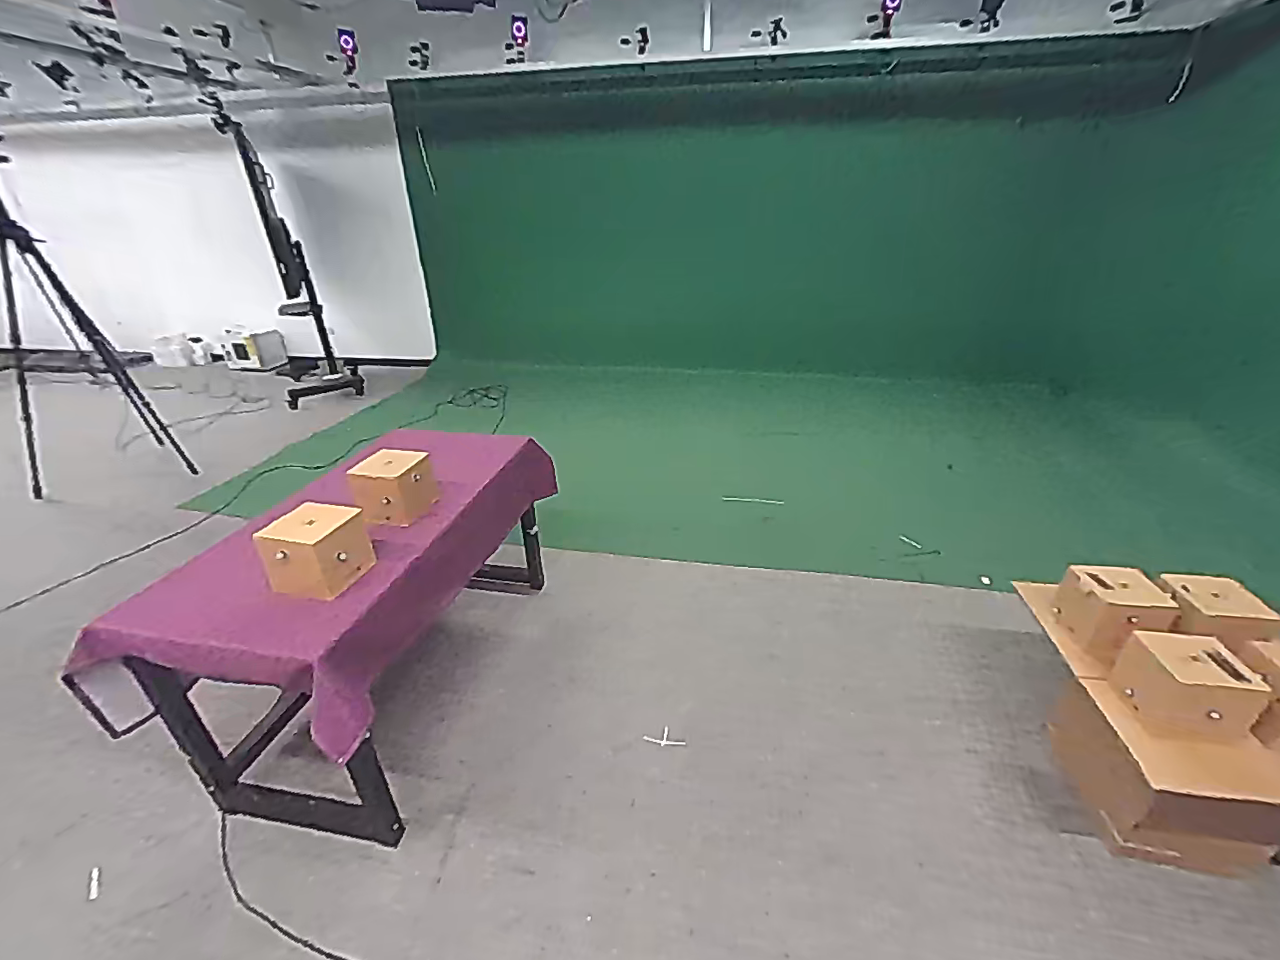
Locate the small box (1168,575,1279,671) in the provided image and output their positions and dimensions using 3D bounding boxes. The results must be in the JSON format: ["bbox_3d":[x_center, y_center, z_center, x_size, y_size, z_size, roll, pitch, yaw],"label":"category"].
[{"bbox_3d":[1.494,0.371,1.401,0.179,0.176,0.168,4,26,8],"label":"small box"}]

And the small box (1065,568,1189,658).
[{"bbox_3d":[1.285,0.356,1.448,0.179,0.176,0.168,2,27,6],"label":"small box"}]

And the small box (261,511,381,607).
[{"bbox_3d":[-0.787,0.196,1.355,0.179,0.176,0.168,4,27,15],"label":"small box"}]

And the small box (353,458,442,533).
[{"bbox_3d":[-0.728,0.047,1.648,0.168,0.176,0.179,5,27,13],"label":"small box"}]
